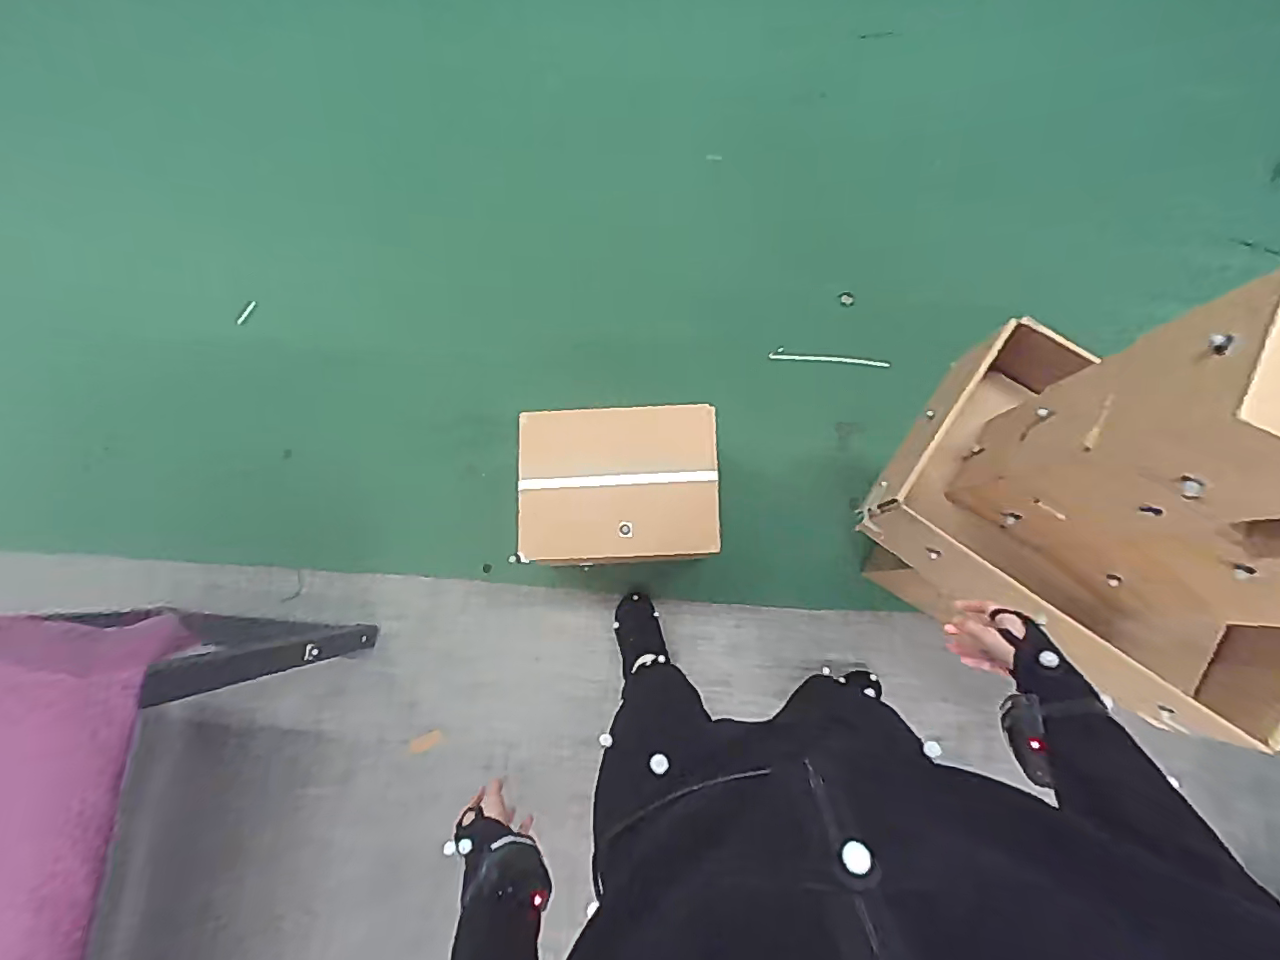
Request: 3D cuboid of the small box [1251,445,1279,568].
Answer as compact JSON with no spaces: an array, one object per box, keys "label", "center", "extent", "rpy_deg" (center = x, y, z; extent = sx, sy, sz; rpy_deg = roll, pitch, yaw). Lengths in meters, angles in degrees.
[{"label":"small box","center":[0.792,0.029,0.540],"extent":[0.179,0.176,0.168],"rpy_deg":[21,80,8]}]
